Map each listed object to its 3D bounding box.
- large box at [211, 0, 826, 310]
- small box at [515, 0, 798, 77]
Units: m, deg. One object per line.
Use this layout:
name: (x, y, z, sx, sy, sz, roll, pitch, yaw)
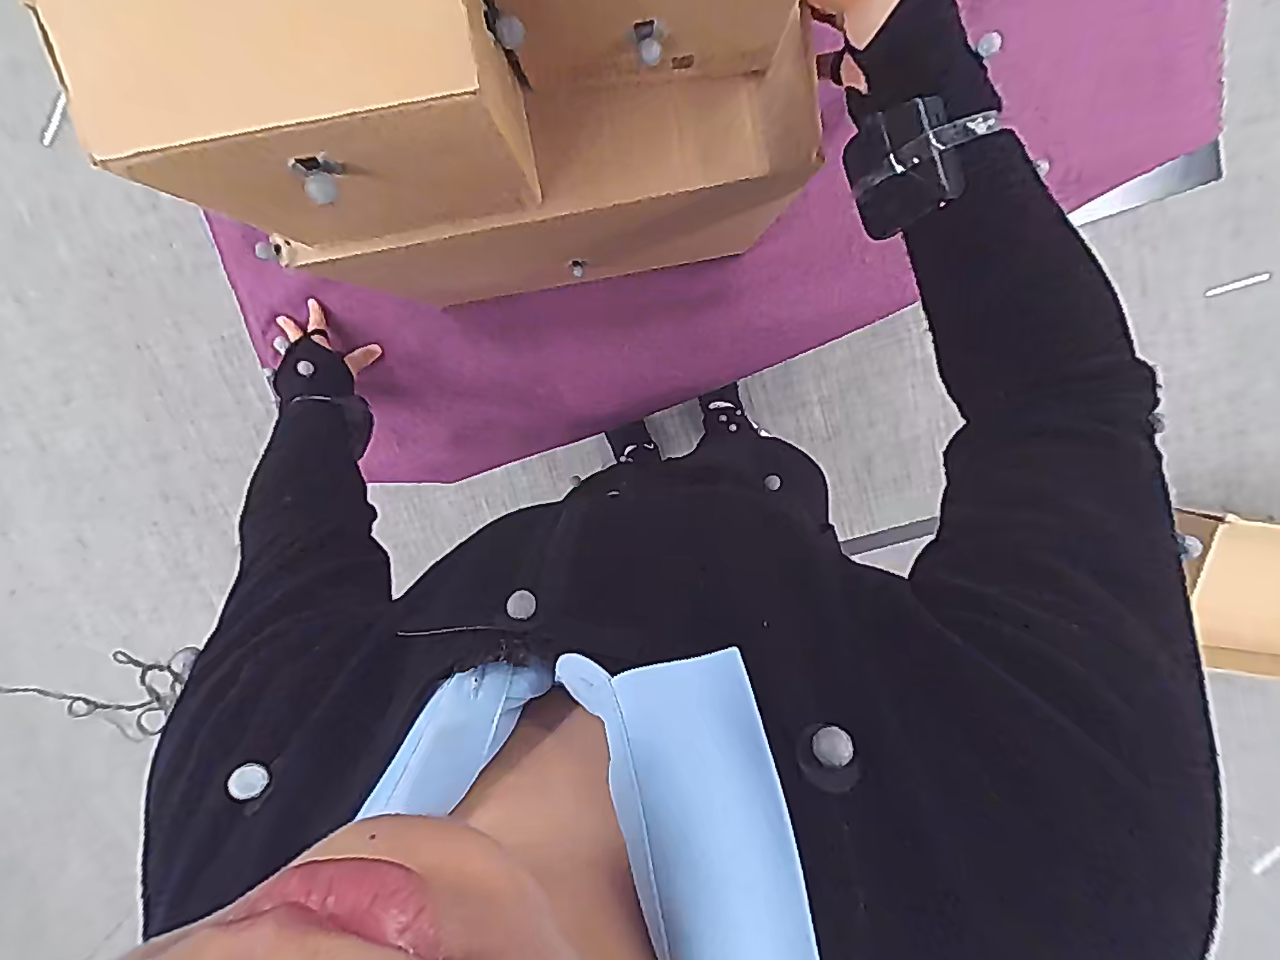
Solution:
large box: (-0.087, -0.366, 0.507, 0.408, 0.320, 0.320, -10, 100, 3)
small box: (0.004, -0.340, 0.261, 0.168, 0.176, 0.179, -3, 102, 2)
